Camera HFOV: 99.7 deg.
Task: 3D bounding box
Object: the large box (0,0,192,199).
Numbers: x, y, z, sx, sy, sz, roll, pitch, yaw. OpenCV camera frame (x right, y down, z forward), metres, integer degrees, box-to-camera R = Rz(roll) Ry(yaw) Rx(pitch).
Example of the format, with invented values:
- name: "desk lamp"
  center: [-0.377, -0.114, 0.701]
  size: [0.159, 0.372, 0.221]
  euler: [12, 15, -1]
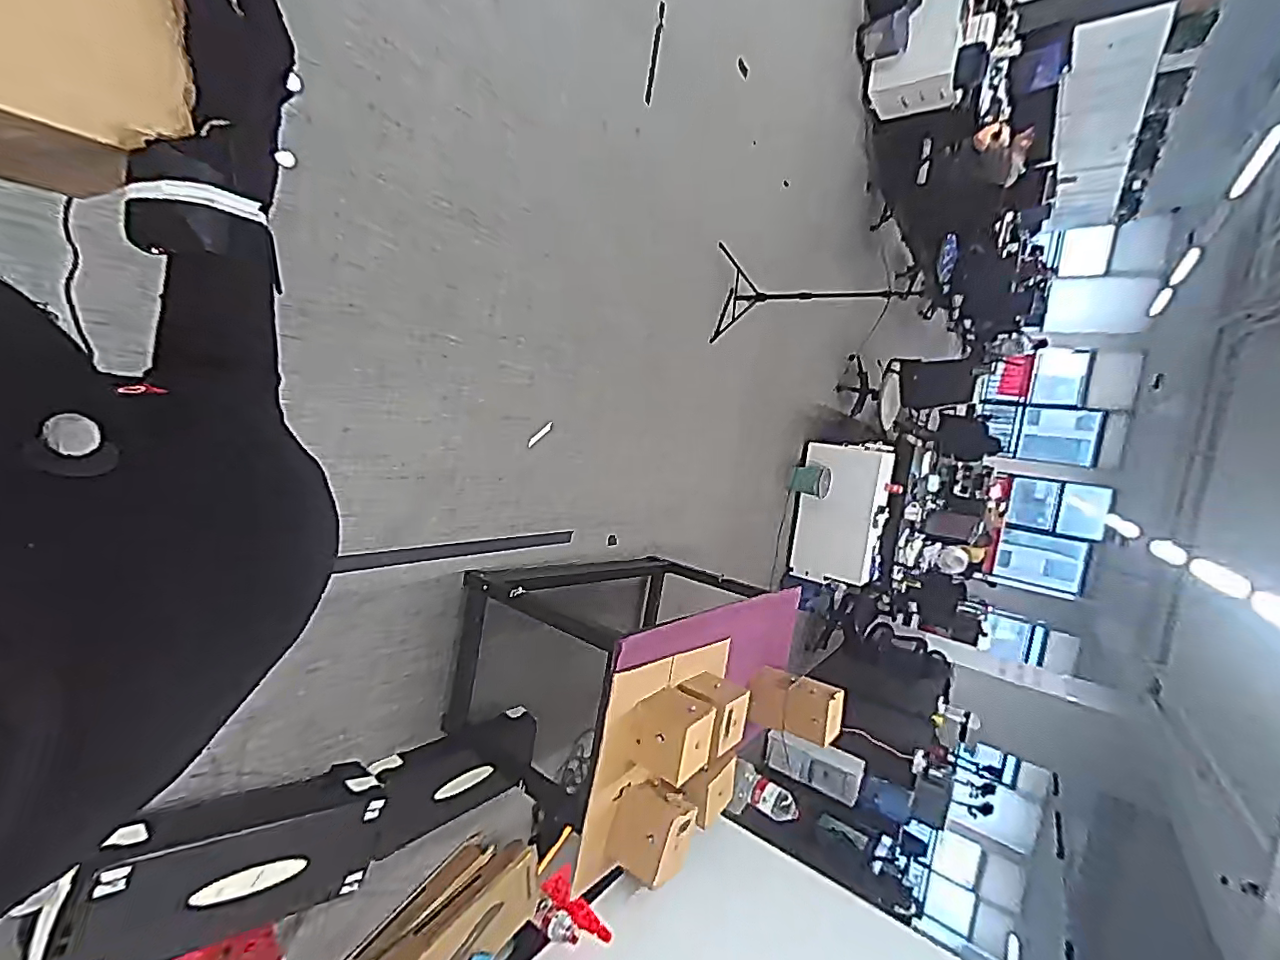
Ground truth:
- name: "large box"
  center: [-0.550, -0.392, 0.295]
  size: [0.408, 0.320, 0.320]
  euler: [-6, 108, -56]
